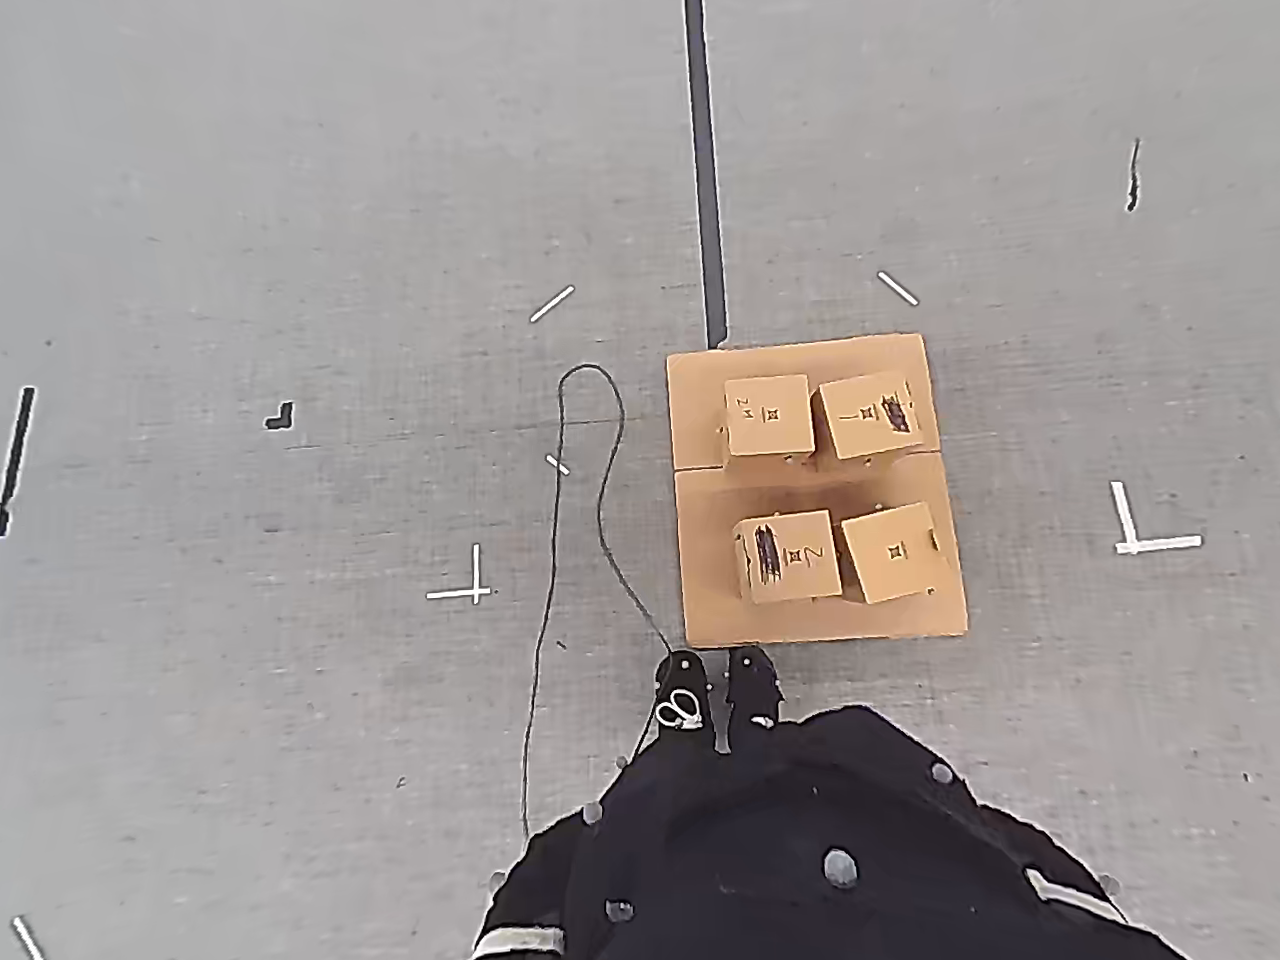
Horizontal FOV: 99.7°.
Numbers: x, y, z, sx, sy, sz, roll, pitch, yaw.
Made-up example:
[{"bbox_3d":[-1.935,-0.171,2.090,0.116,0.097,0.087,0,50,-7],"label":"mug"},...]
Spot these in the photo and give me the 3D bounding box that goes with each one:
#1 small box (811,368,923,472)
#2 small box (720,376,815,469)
[{"bbox_3d":[0.479,-0.124,1.183,0.179,0.176,0.168,-12,78,4],"label":"small box"},{"bbox_3d":[0.276,-0.121,1.203,0.179,0.176,0.168,-3,79,4],"label":"small box"}]
